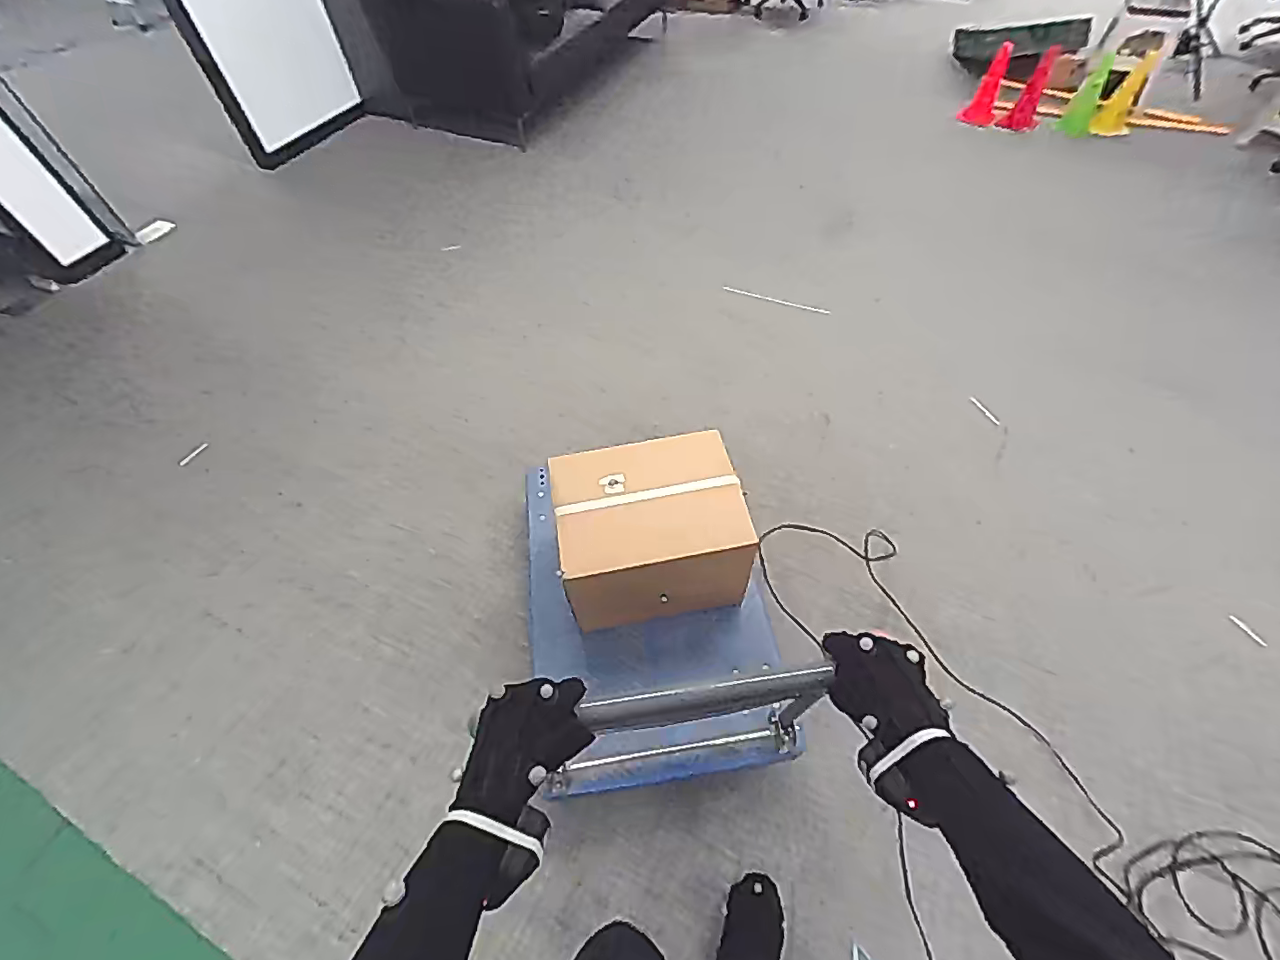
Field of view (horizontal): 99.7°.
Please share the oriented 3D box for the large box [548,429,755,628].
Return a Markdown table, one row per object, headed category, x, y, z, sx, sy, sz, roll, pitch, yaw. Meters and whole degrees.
| category | x | y | z | sx | sy | sz | roll | pitch | yaw |
| --- | --- | --- | --- | --- | --- | --- | --- | --- | --- |
| large box | 0.021 | 0.122 | 1.290 | 0.408 | 0.320 | 0.320 | -11 | 54 | -4 |
